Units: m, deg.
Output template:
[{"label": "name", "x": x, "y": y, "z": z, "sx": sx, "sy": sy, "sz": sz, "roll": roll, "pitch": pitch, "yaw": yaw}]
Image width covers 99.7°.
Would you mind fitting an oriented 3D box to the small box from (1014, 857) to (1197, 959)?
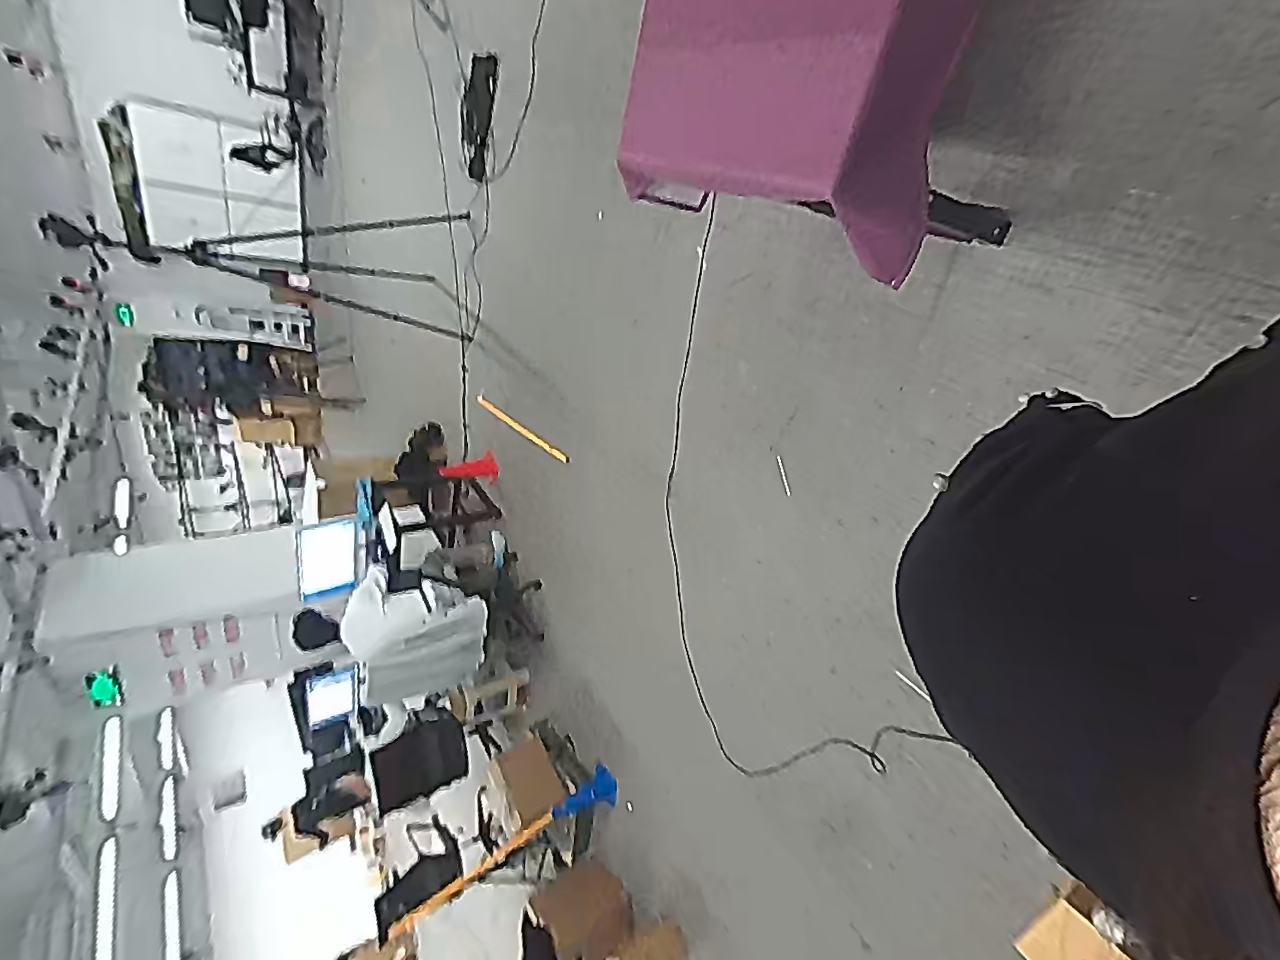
[{"label": "small box", "x": 0.825, "y": 0.819, "z": 0.961, "sx": 0.179, "sy": 0.176, "sz": 0.168, "roll": 40, "pitch": 126, "yaw": 40}]
